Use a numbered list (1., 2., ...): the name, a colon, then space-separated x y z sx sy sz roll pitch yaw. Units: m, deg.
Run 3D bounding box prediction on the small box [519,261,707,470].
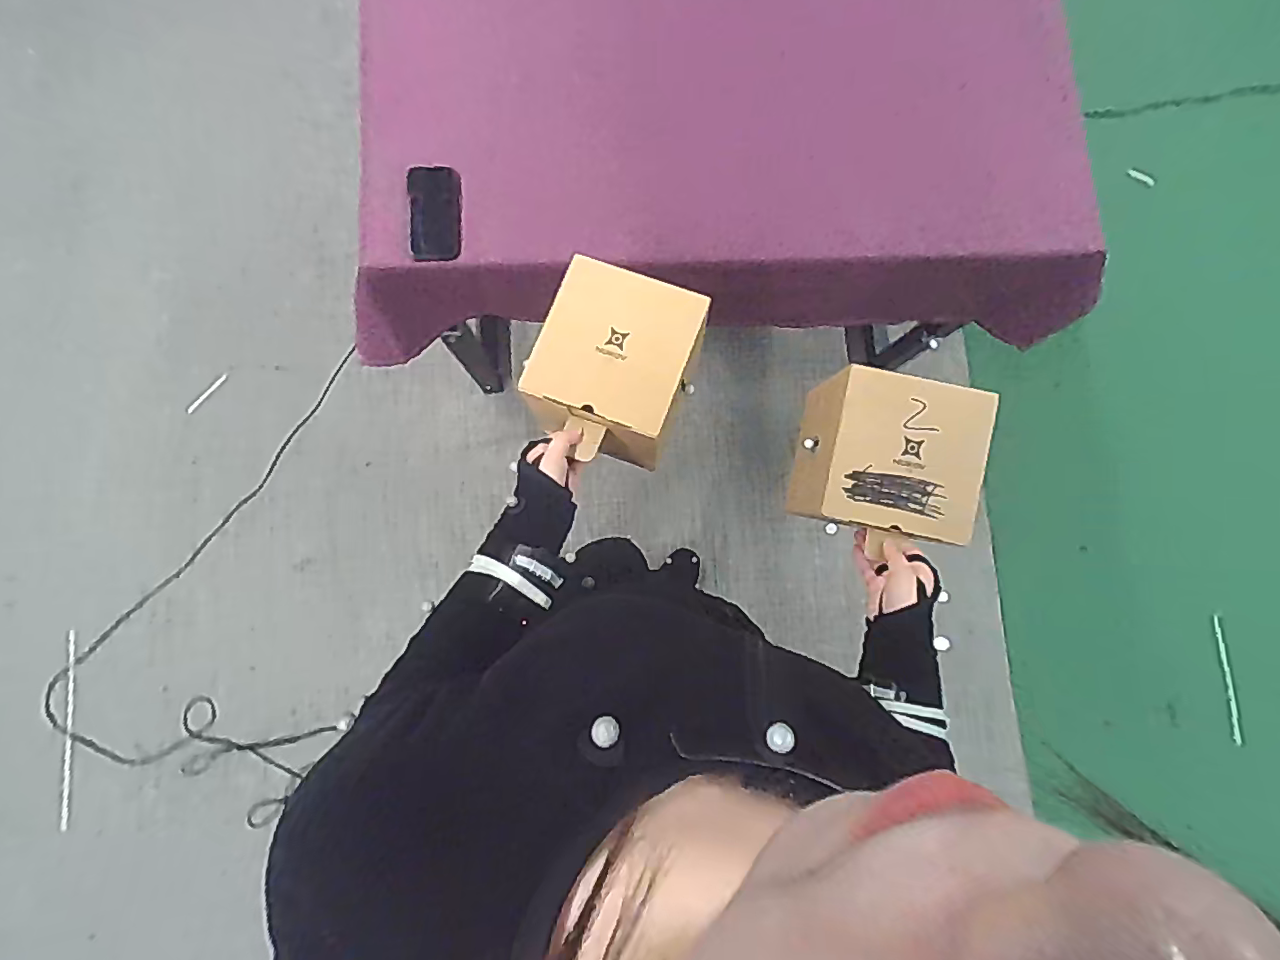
1. small box: -0.029 -0.132 0.681 0.168 0.176 0.179 20 80 5
